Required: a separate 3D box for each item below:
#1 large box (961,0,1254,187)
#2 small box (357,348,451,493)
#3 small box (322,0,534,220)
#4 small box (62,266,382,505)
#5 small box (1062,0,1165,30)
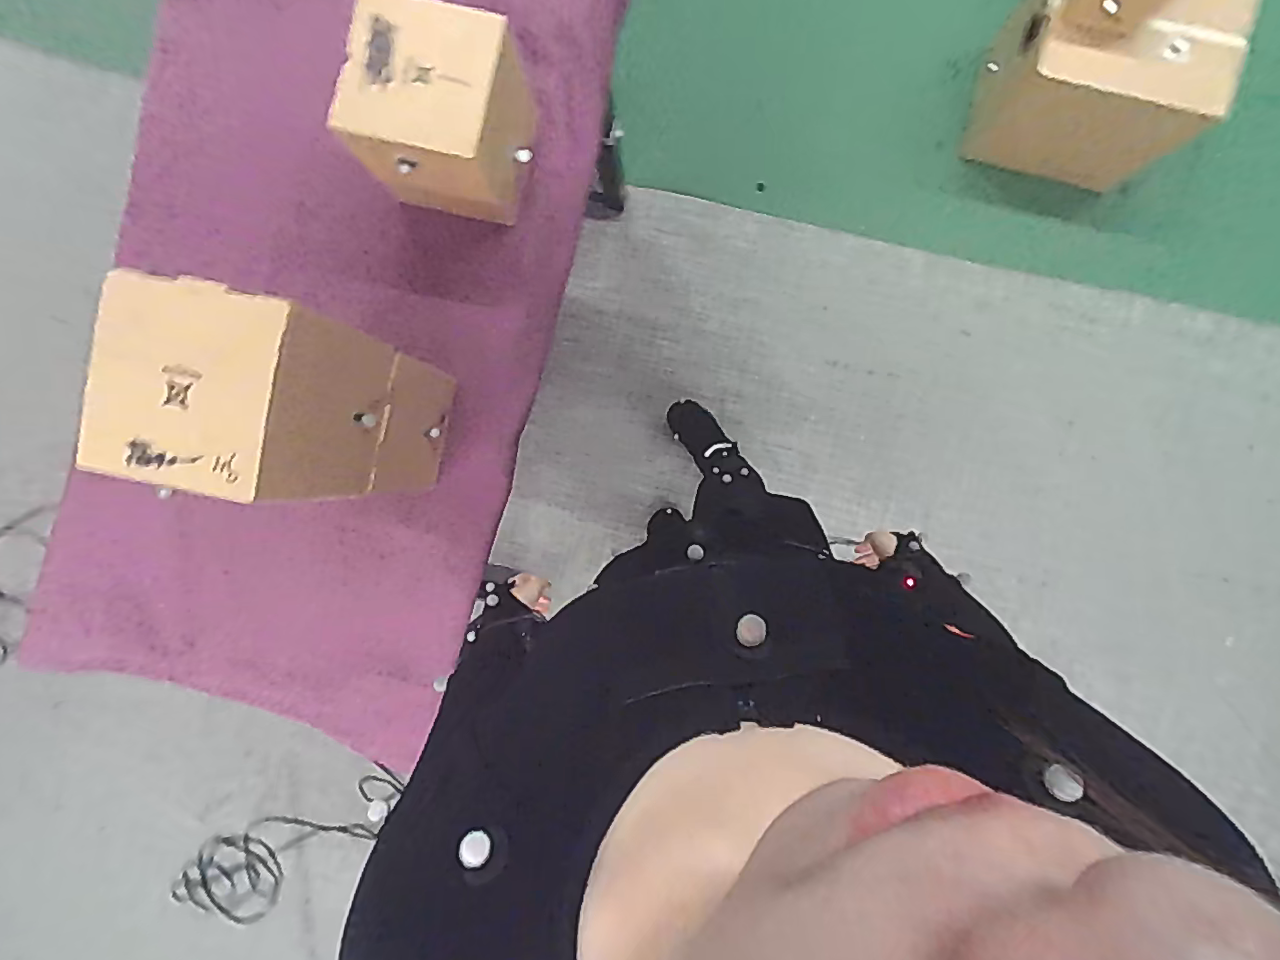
[{"bbox_3d":[1.070,-0.962,1.284,0.408,0.320,0.320,15,92,2],"label":"large box"},{"bbox_3d":[-0.371,-0.080,0.690,0.179,0.176,0.168,12,92,4],"label":"small box"},{"bbox_3d":[-0.252,-0.457,0.684,0.179,0.176,0.168,13,91,2],"label":"small box"},{"bbox_3d":[-0.380,-0.078,0.526,0.168,0.176,0.179,11,90,5],"label":"small box"},{"bbox_3d":[0.970,-1.037,1.045,0.168,0.176,0.179,15,91,2],"label":"small box"}]
